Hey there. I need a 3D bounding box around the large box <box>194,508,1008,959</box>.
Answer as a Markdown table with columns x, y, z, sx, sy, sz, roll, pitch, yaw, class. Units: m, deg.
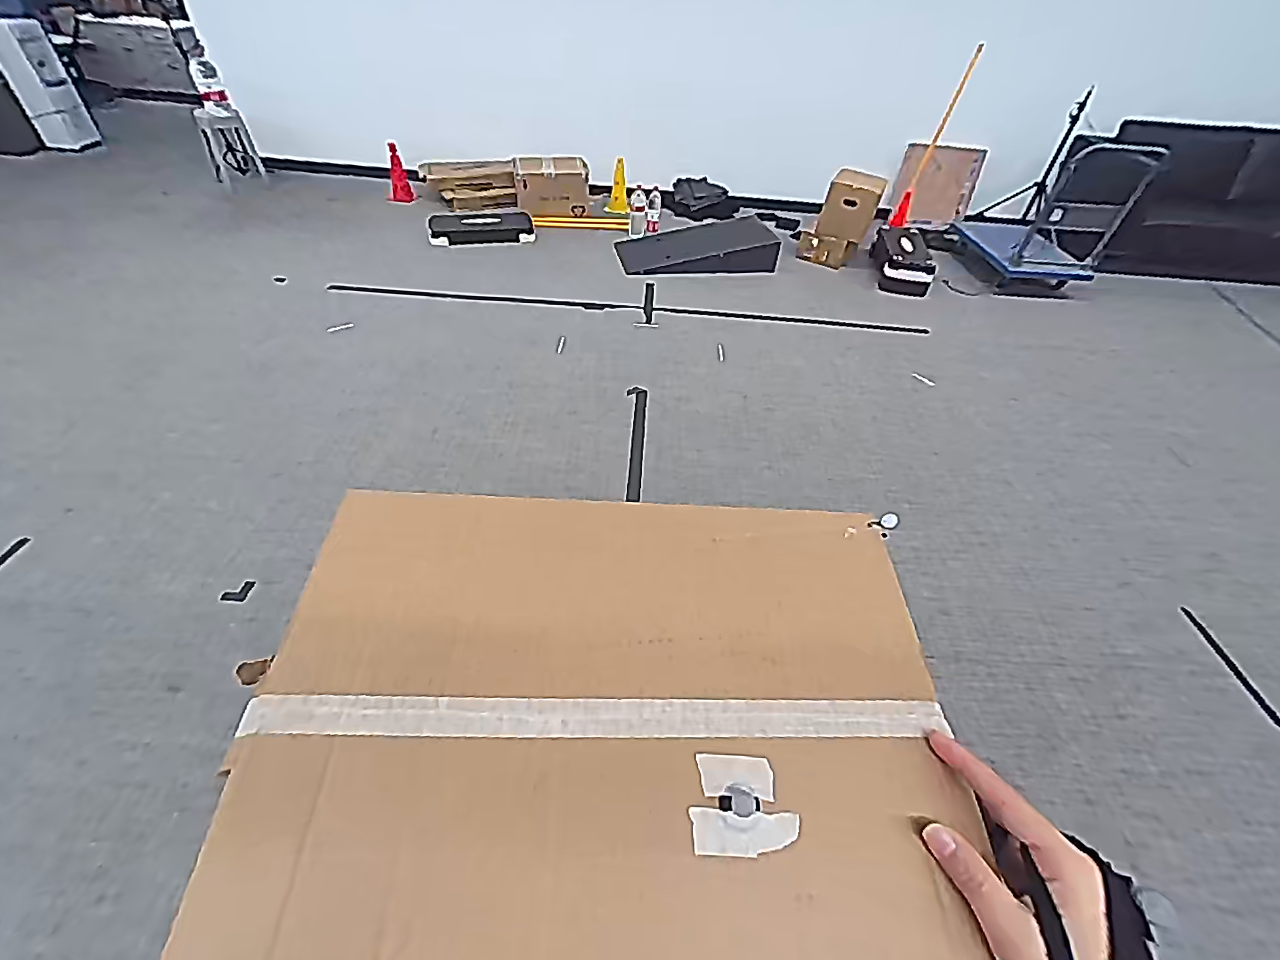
| x | y | z | sx | sy | sz | roll | pitch | yaw | class |
| --- | --- | --- | --- | --- | --- | --- | --- | --- | --- |
| -0.027 | 0.240 | 0.444 | 0.408 | 0.320 | 0.320 | 3 | 53 | -5 | large box |
